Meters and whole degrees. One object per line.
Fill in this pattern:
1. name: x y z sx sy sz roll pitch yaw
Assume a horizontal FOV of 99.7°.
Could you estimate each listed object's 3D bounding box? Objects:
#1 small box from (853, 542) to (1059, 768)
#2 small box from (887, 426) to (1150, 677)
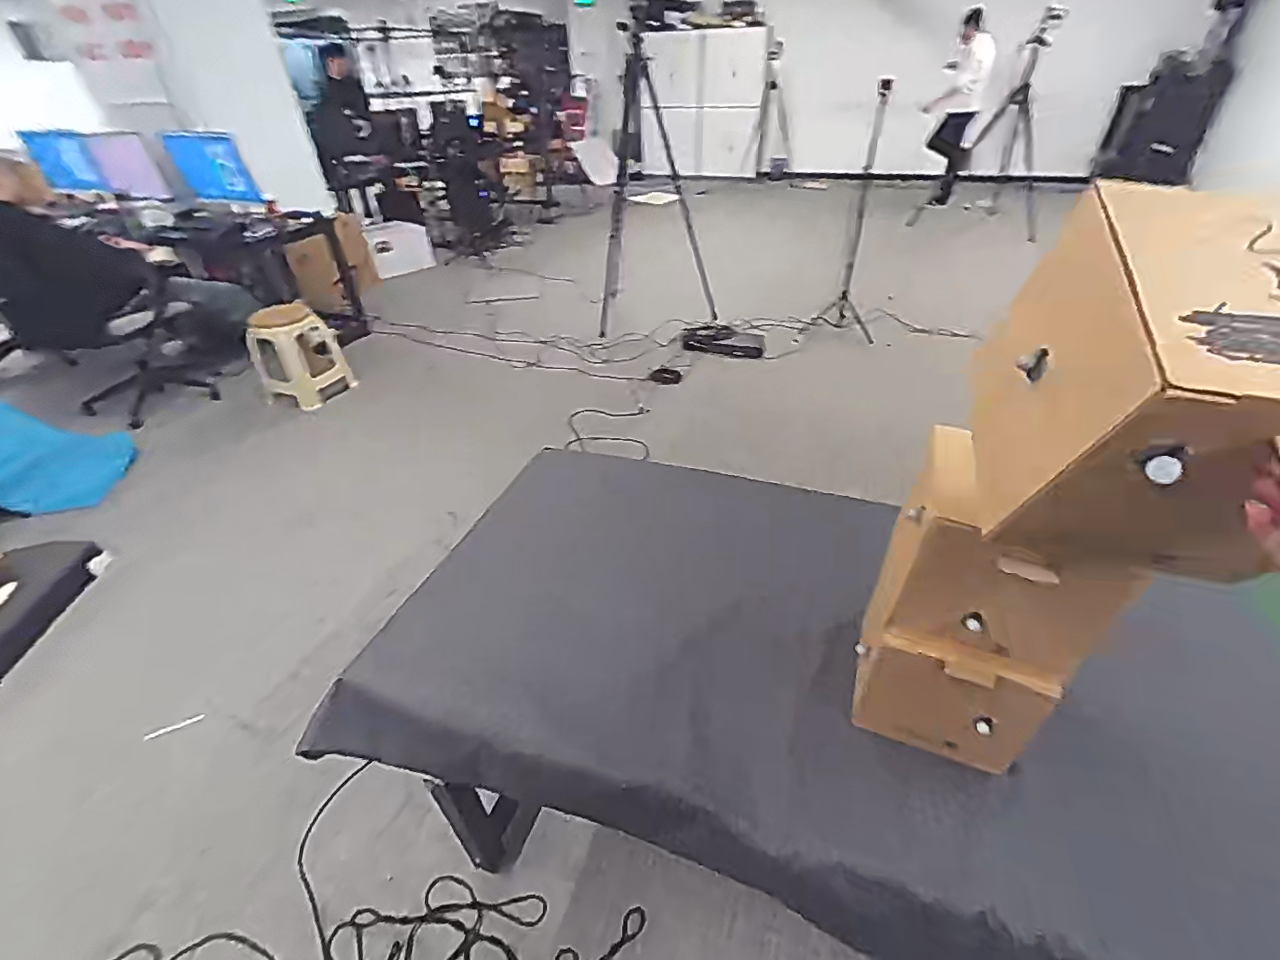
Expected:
1. small box: 0.365 0.208 0.656 0.168 0.176 0.179 13 38 18
2. small box: 0.371 0.070 0.570 0.168 0.176 0.179 14 40 19
